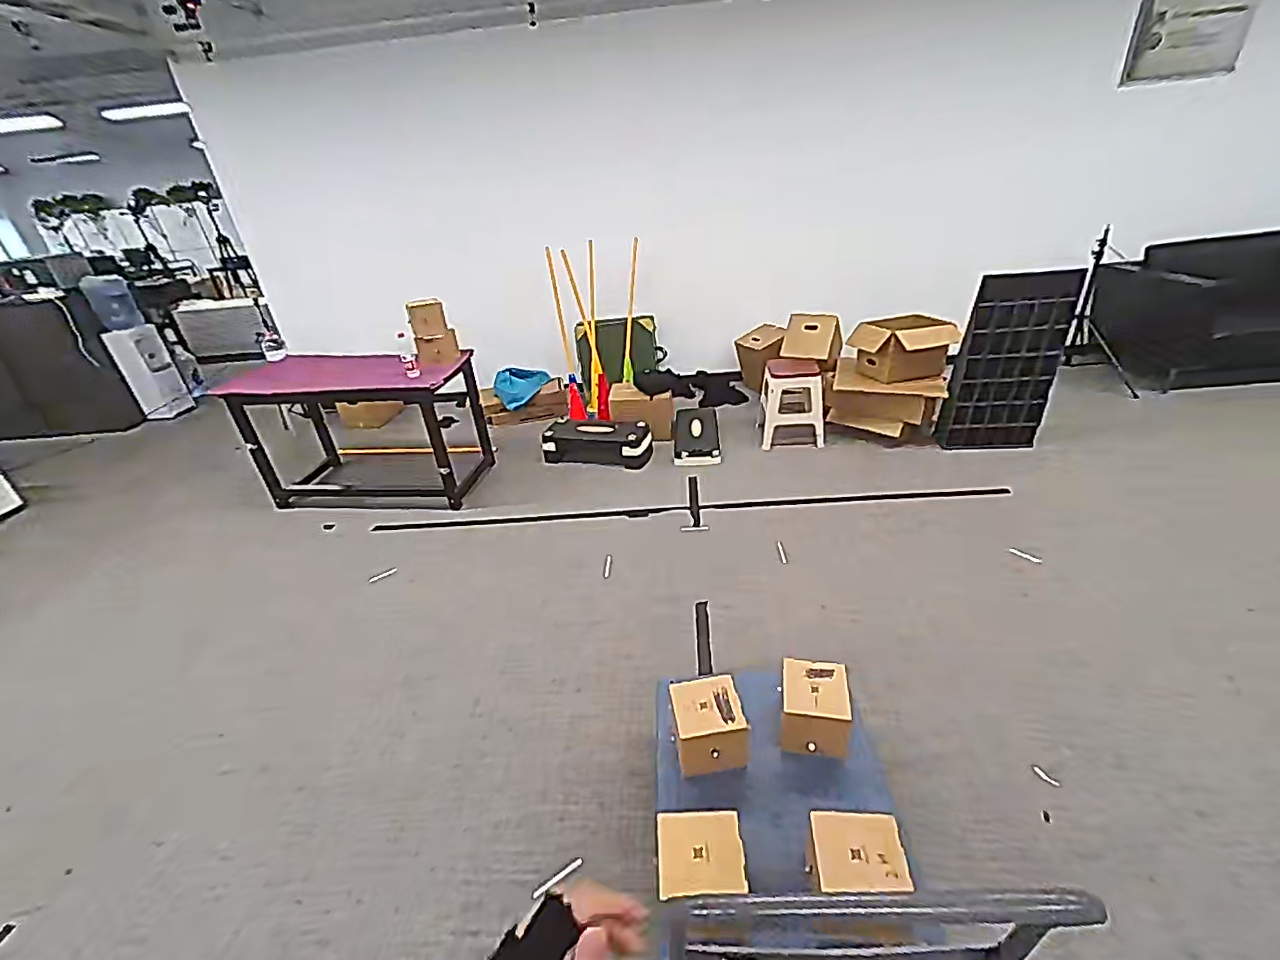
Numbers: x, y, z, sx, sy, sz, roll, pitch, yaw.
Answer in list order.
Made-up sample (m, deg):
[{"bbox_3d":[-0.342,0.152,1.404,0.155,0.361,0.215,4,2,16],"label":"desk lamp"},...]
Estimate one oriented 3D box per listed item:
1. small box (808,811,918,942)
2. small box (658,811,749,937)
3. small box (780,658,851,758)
[{"bbox_3d":[0.448,0.818,1.118,0.179,0.176,0.168,-1,31,8],"label":"small box"},{"bbox_3d":[0.132,0.834,1.146,0.179,0.176,0.168,-3,30,2],"label":"small box"},{"bbox_3d":[0.468,0.613,1.463,0.168,0.176,0.179,2,32,13],"label":"small box"}]
